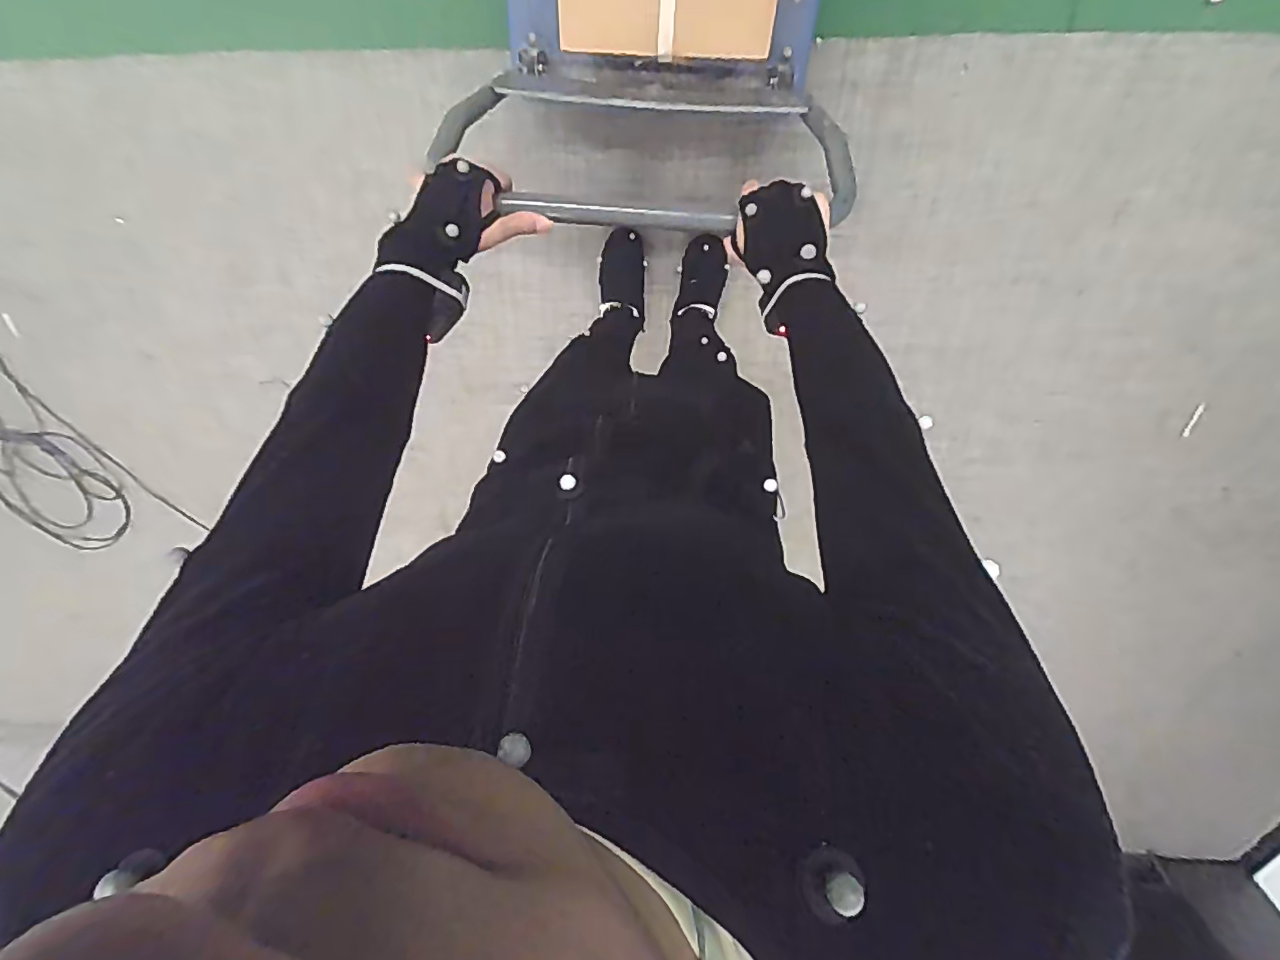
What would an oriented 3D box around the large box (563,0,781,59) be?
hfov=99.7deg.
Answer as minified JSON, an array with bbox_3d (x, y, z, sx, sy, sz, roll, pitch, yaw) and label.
[{"bbox_3d":[0.058,-0.880,0.795,0.320,0.320,0.408,4,130,1],"label":"large box"}]
